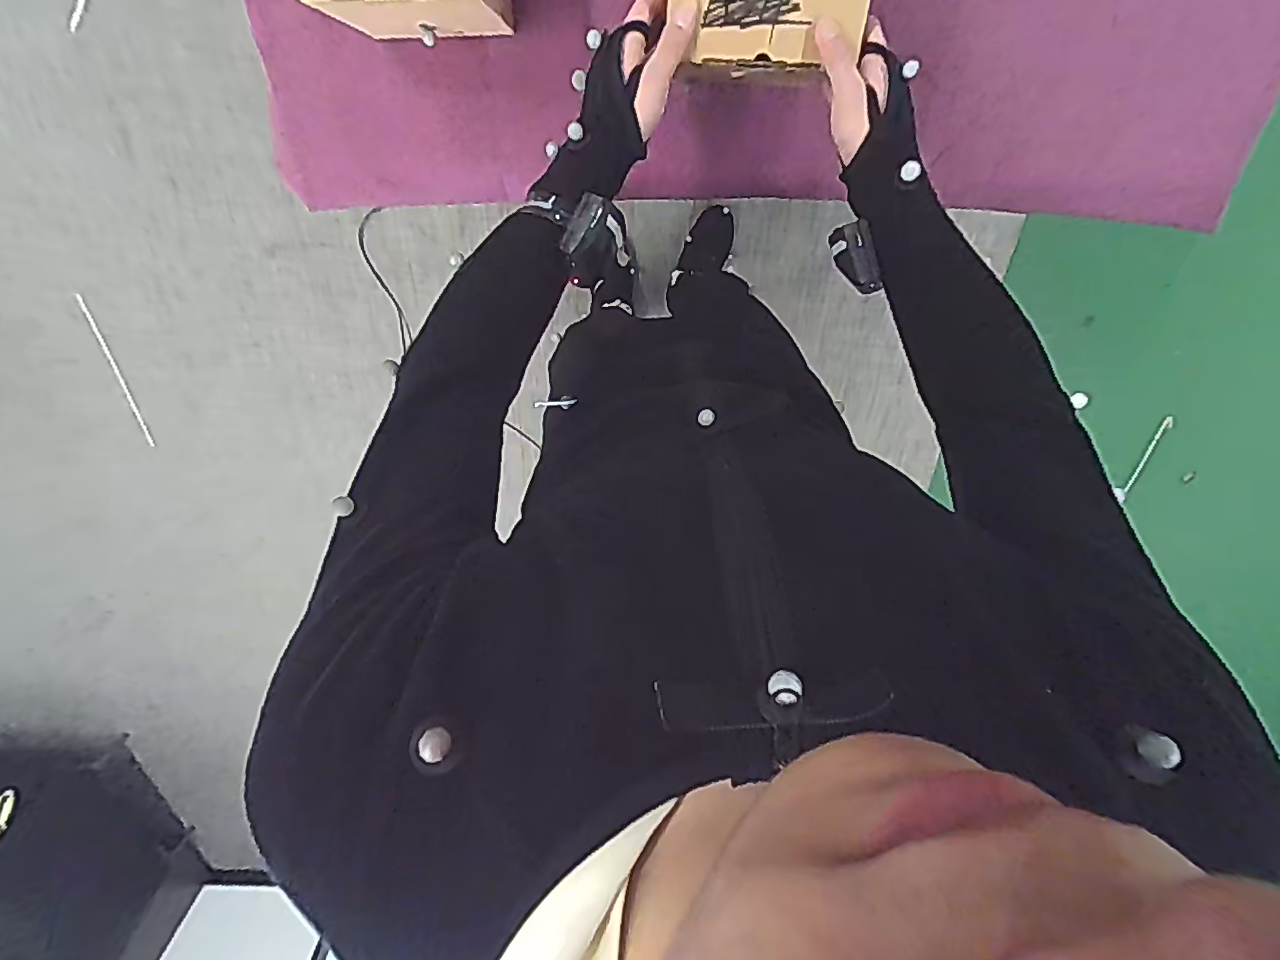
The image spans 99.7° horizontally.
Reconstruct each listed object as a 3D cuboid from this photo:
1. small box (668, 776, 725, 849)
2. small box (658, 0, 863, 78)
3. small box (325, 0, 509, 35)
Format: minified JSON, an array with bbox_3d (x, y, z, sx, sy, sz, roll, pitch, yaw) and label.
[{"bbox_3d":[0.190,1.150,1.867,0.179,0.176,0.168,3,120,1],"label":"small box"},{"bbox_3d":[0.104,-0.475,0.481,0.168,0.176,0.179,2,121,-2],"label":"small box"},{"bbox_3d":[-0.231,-0.552,0.512,0.168,0.176,0.179,-1,121,1],"label":"small box"}]
